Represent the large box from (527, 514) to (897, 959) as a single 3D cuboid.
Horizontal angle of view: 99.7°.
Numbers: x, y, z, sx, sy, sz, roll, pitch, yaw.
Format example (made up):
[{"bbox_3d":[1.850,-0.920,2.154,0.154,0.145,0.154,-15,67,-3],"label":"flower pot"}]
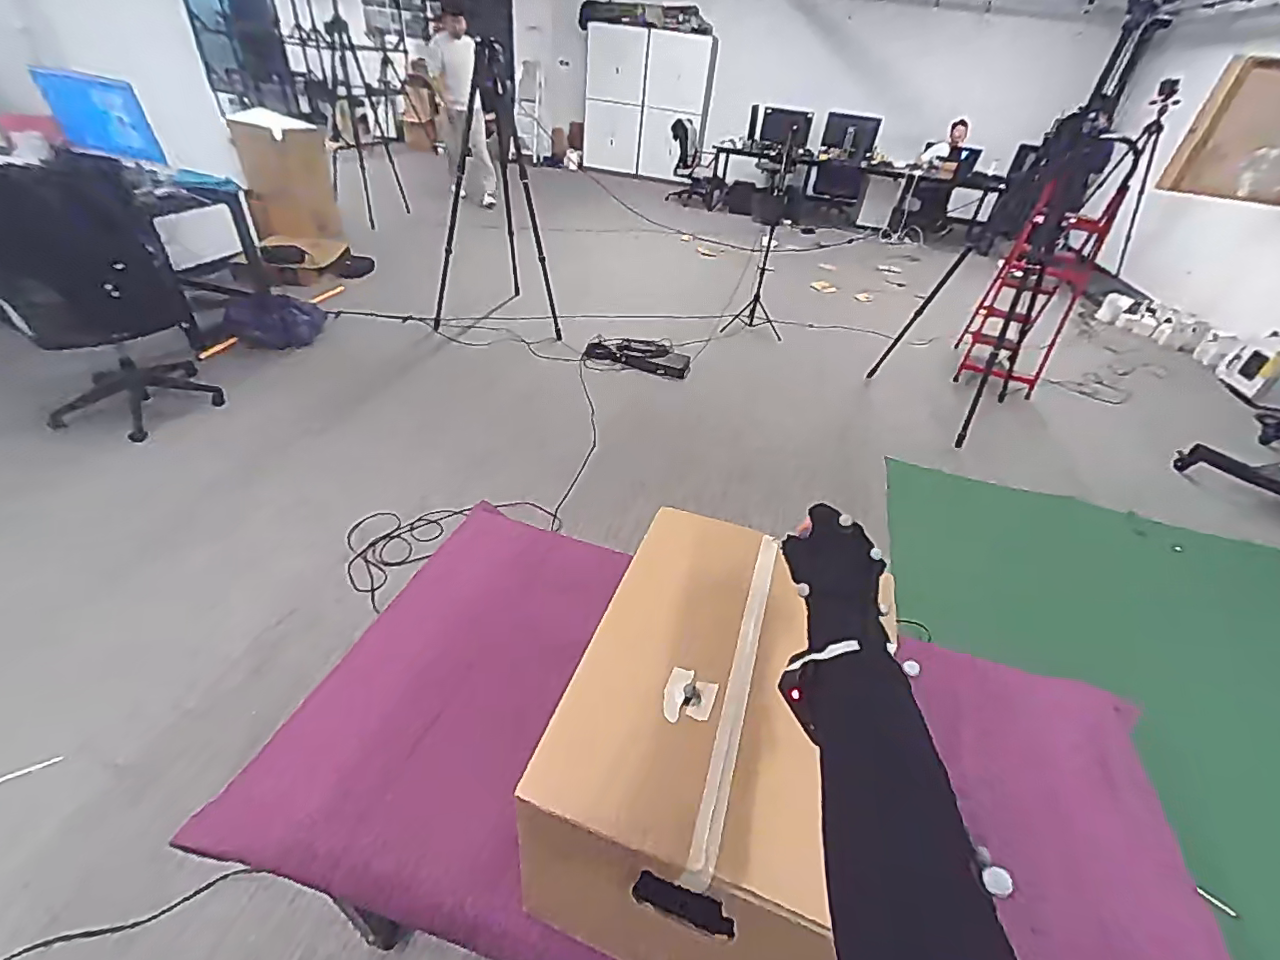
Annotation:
[{"bbox_3d":[0.090,0.314,0.667,0.320,0.320,0.408,16,39,12],"label":"large box"}]
